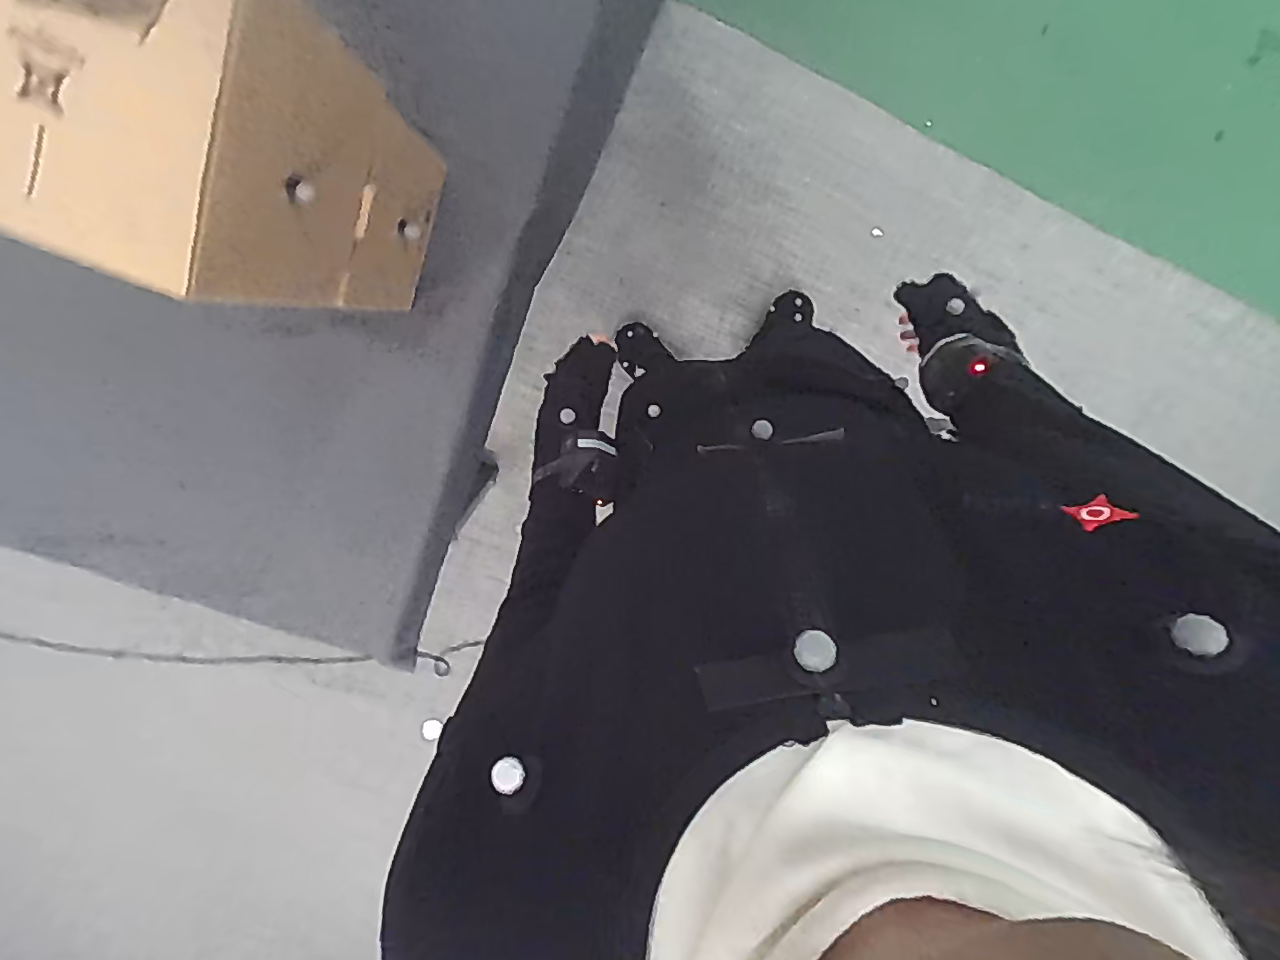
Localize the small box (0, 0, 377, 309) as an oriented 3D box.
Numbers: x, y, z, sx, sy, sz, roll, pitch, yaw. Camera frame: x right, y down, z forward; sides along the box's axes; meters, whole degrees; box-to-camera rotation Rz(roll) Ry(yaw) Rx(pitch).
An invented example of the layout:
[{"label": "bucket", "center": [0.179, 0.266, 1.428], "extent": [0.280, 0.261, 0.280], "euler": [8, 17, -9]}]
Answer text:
[{"label": "small box", "center": [-0.299, -0.228, 0.354], "extent": [0.168, 0.176, 0.179], "euler": [21, 106, -8]}]

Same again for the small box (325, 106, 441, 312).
[{"label": "small box", "center": [-0.311, -0.272, 0.513], "extent": [0.179, 0.176, 0.168], "euler": [19, 105, -8]}]
